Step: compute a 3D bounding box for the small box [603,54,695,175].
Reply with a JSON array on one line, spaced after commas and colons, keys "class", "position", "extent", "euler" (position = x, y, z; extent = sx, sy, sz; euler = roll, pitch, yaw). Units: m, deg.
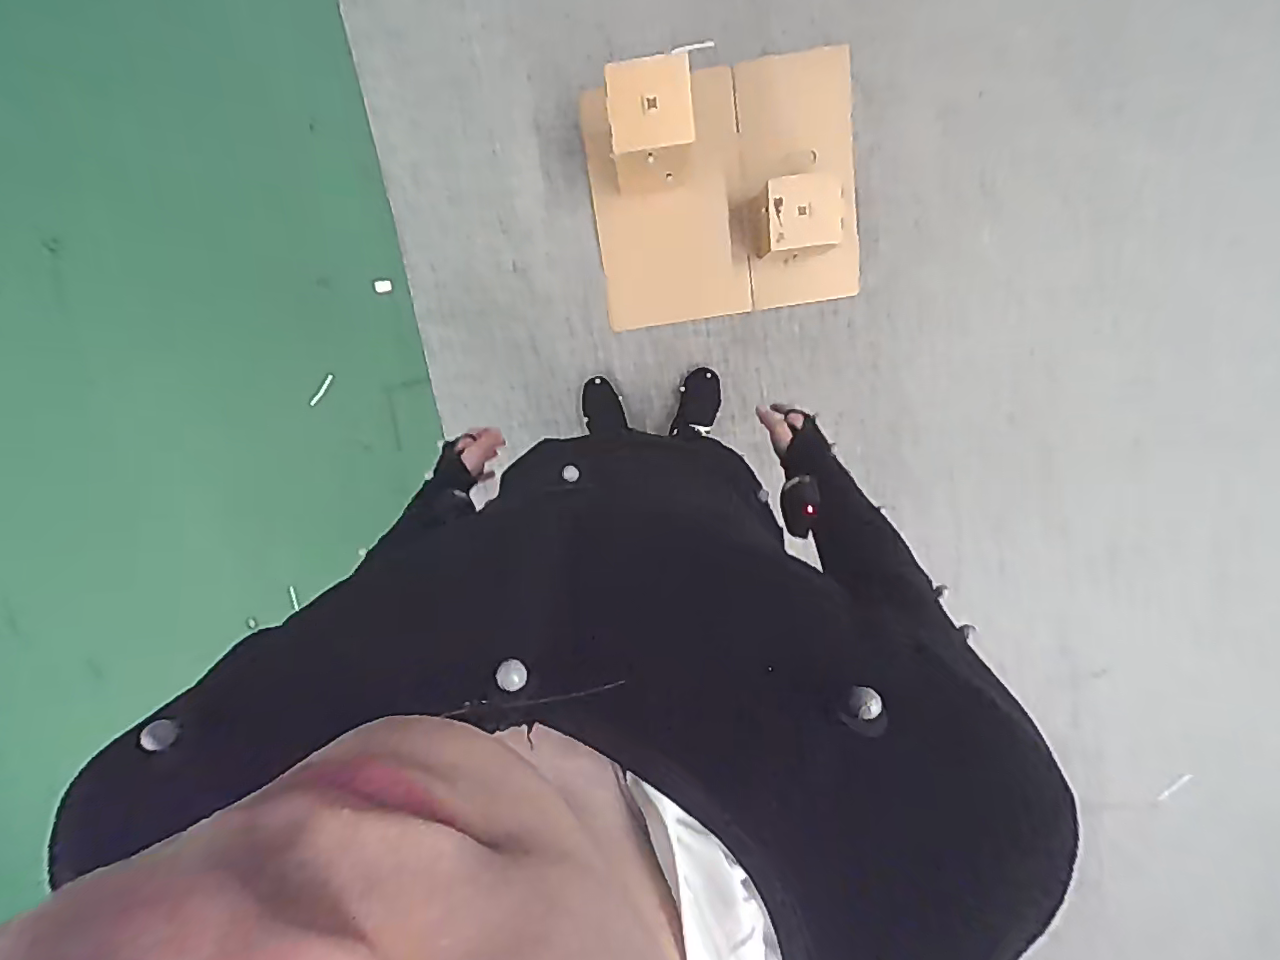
[{"class": "small box", "position": [0.021, -0.790, 1.184], "extent": [0.179, 0.176, 0.168], "euler": [-6, 105, 4]}]

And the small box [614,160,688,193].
[{"class": "small box", "position": [0.021, -0.830, 1.341], "extent": [0.179, 0.176, 0.168], "euler": [-6, 104, 4]}]

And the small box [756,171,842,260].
[{"class": "small box", "position": [0.398, -0.664, 1.373], "extent": [0.179, 0.176, 0.168], "euler": [-5, 104, 4]}]
